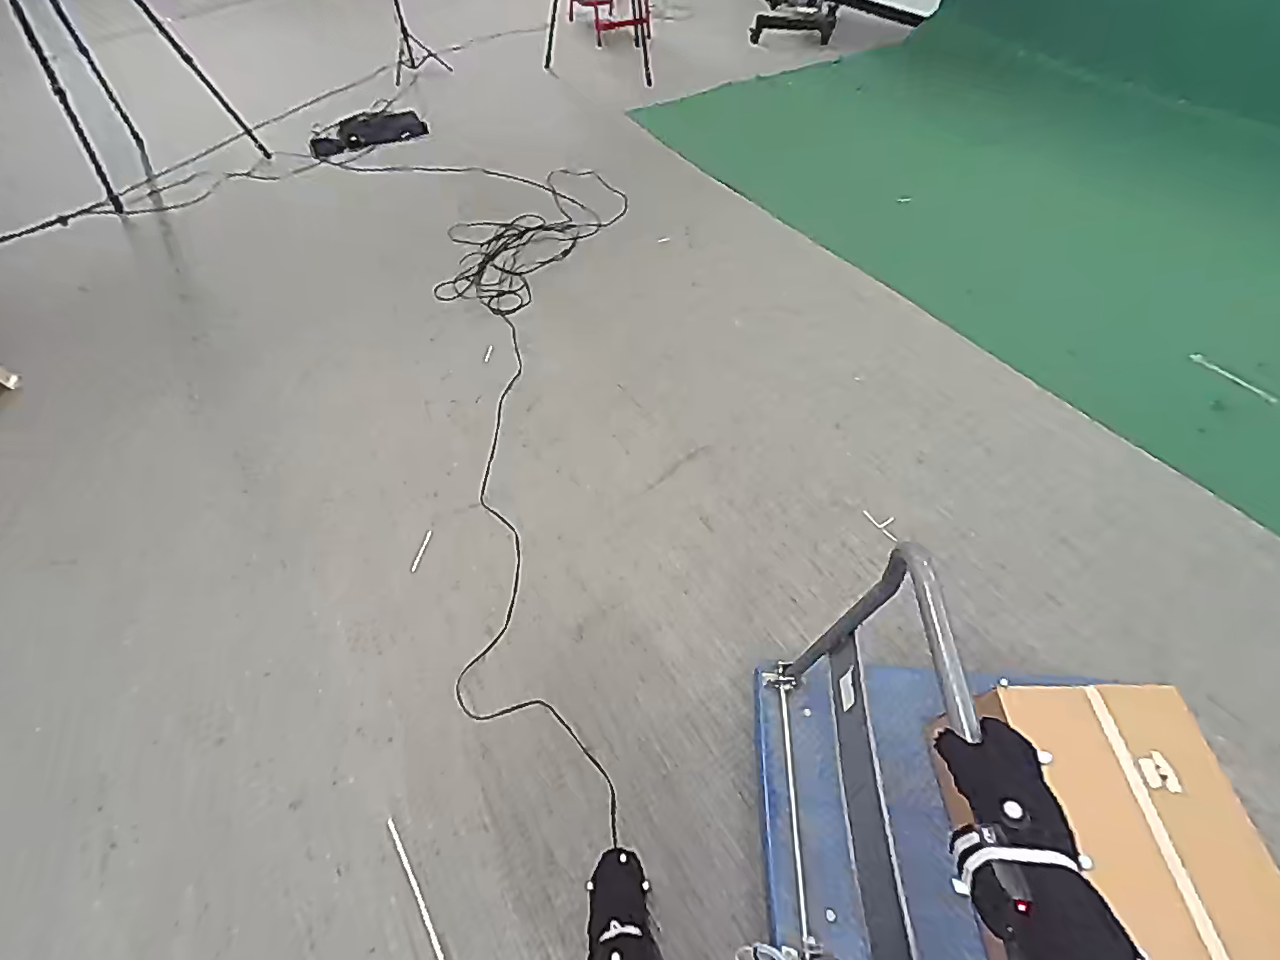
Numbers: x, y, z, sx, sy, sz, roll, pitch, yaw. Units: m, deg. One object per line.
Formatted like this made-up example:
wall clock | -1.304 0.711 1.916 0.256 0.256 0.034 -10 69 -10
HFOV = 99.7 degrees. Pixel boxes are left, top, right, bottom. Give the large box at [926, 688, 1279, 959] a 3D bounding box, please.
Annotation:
large box | 0.765 0.614 0.934 0.320 0.320 0.408 0 53 -1
